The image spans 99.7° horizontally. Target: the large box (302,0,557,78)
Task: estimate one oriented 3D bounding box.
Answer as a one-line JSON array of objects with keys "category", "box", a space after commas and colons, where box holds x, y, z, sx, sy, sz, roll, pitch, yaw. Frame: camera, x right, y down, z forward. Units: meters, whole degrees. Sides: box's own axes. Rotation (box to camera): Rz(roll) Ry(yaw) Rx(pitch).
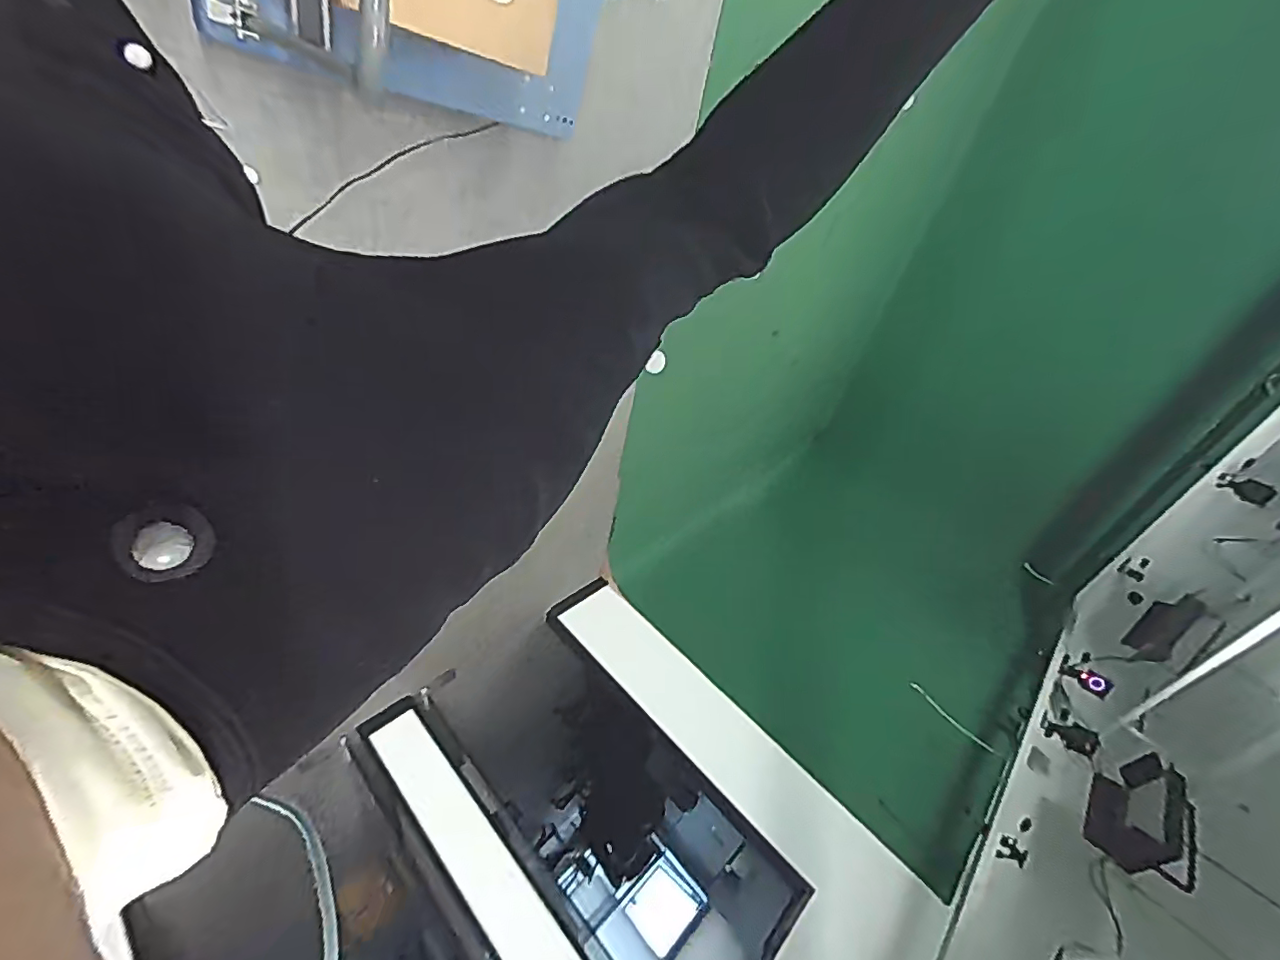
[{"category": "large box", "box": [-0.391, -0.975, 0.957, 0.408, 0.320, 0.320, -20, 139, -45]}]
